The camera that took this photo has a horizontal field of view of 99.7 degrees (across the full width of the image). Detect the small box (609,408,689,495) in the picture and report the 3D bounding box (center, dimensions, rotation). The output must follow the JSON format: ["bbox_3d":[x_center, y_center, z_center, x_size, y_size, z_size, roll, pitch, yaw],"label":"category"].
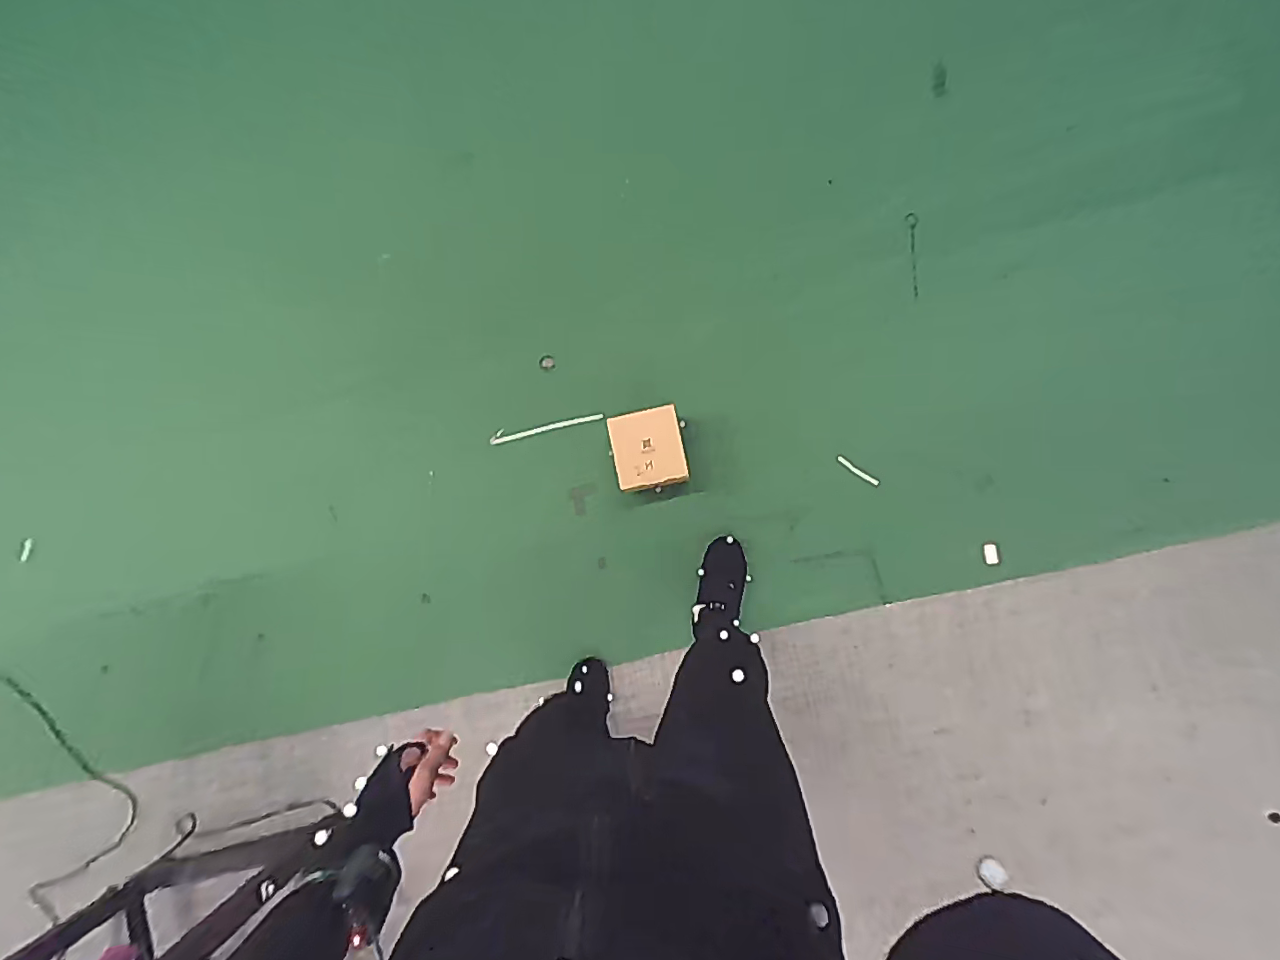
[{"bbox_3d":[0.025,-0.064,1.348,0.168,0.176,0.179,-11,85,4],"label":"small box"}]
